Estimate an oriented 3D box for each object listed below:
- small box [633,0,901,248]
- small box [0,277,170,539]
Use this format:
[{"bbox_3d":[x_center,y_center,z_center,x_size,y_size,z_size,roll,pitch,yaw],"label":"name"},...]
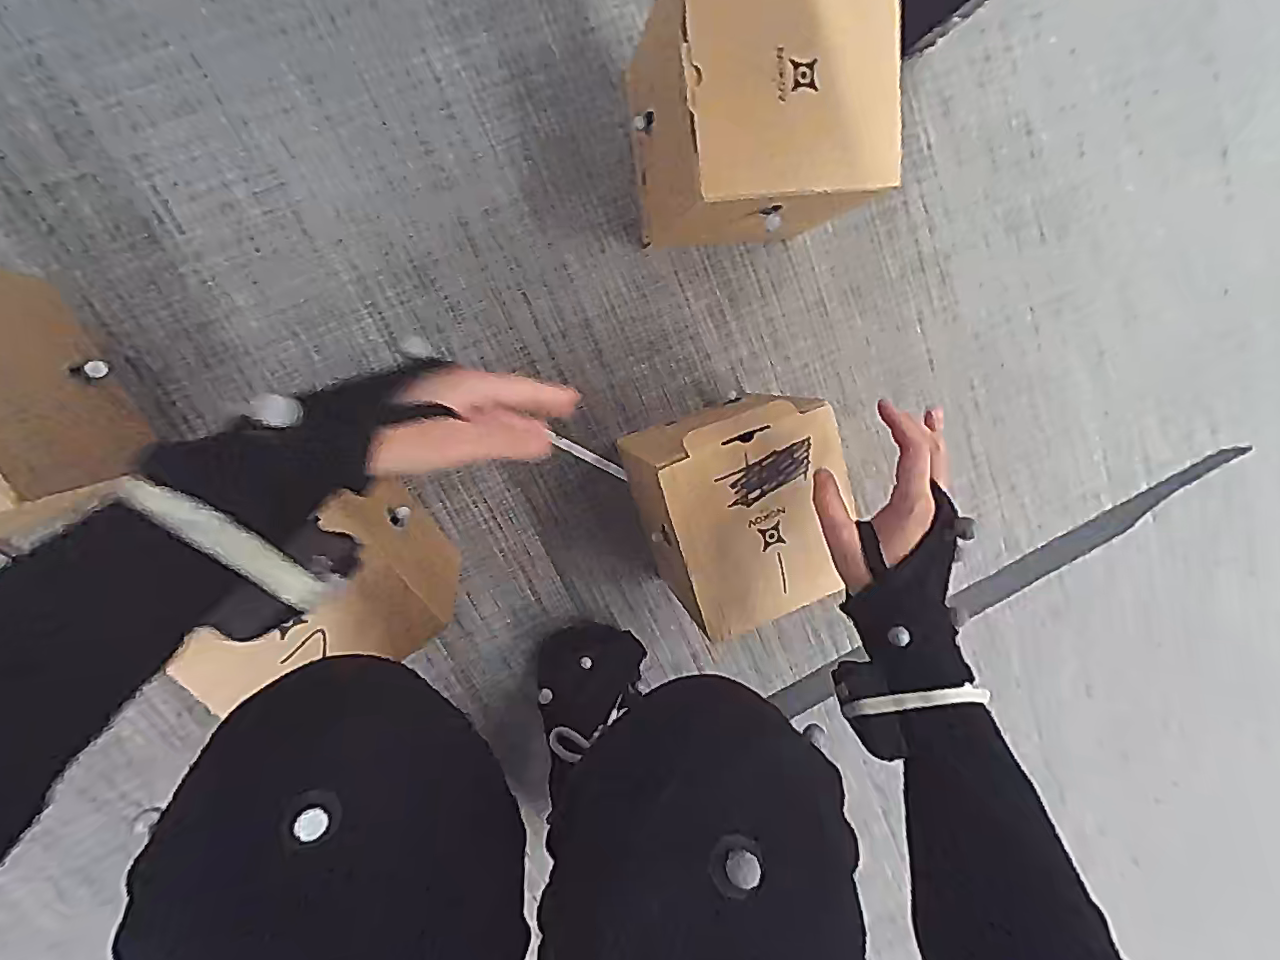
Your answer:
[{"bbox_3d":[0.102,-0.314,0.482,0.179,0.176,0.168,-9,103,-11],"label":"small box"},{"bbox_3d":[-0.506,-0.043,0.385,0.168,0.176,0.179,-24,104,-8],"label":"small box"}]
